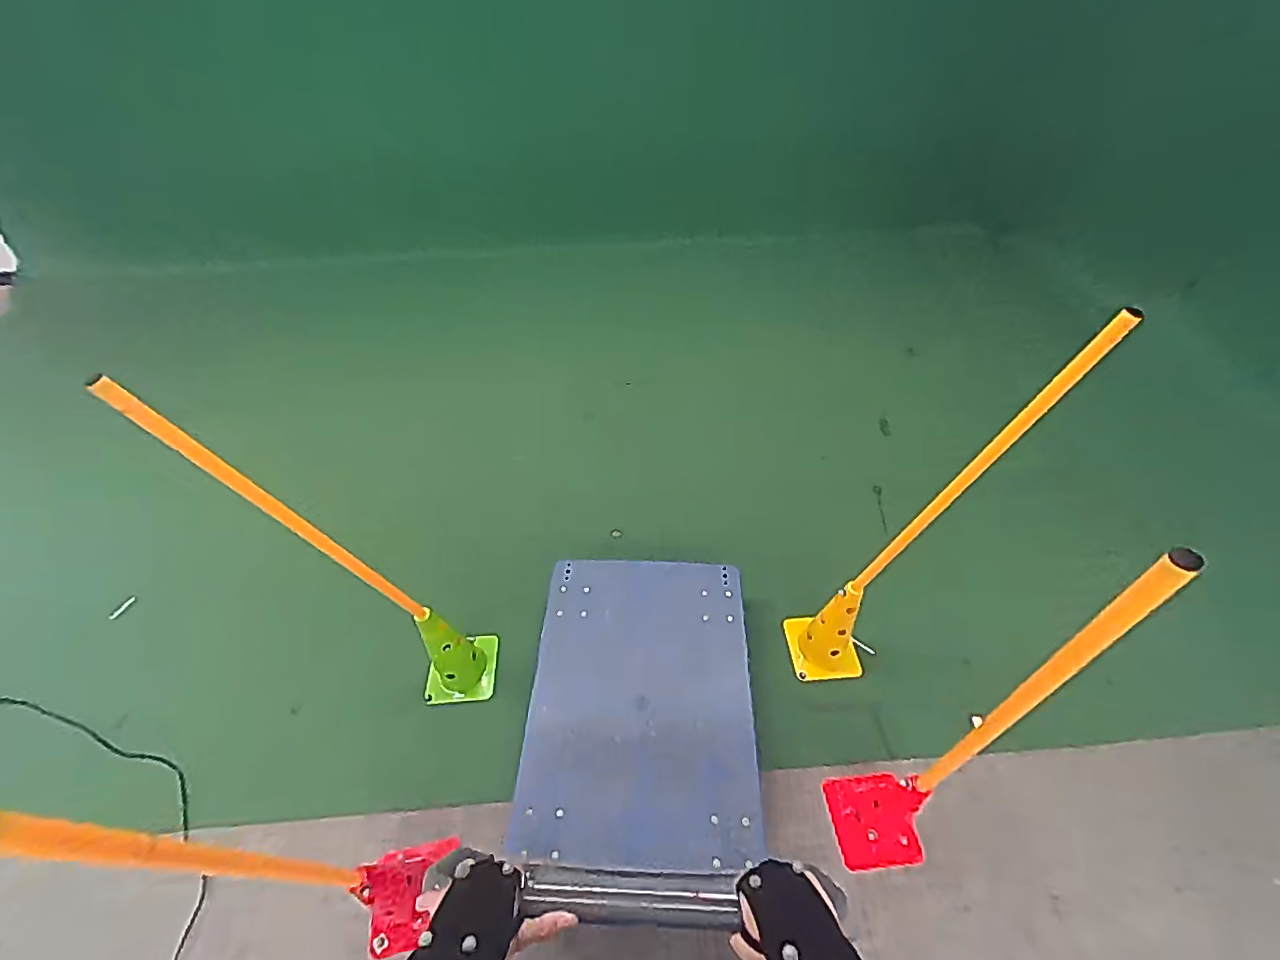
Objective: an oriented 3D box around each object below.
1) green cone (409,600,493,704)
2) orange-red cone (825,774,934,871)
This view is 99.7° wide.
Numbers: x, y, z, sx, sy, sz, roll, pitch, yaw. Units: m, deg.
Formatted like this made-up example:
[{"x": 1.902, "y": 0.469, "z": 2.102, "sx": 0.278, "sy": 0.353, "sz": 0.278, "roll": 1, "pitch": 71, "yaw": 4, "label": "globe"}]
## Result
[{"x": -0.551, "y": 0.445, "z": 1.488, "sx": 0.200, "sy": 0.368, "sz": 0.202, "roll": -5, "pitch": 47, "yaw": -2, "label": "green cone"}, {"x": 0.573, "y": 0.728, "z": 1.215, "sx": 0.198, "sy": 0.360, "sz": 0.199, "roll": -4, "pitch": 47, "yaw": -3, "label": "orange-red cone"}]
